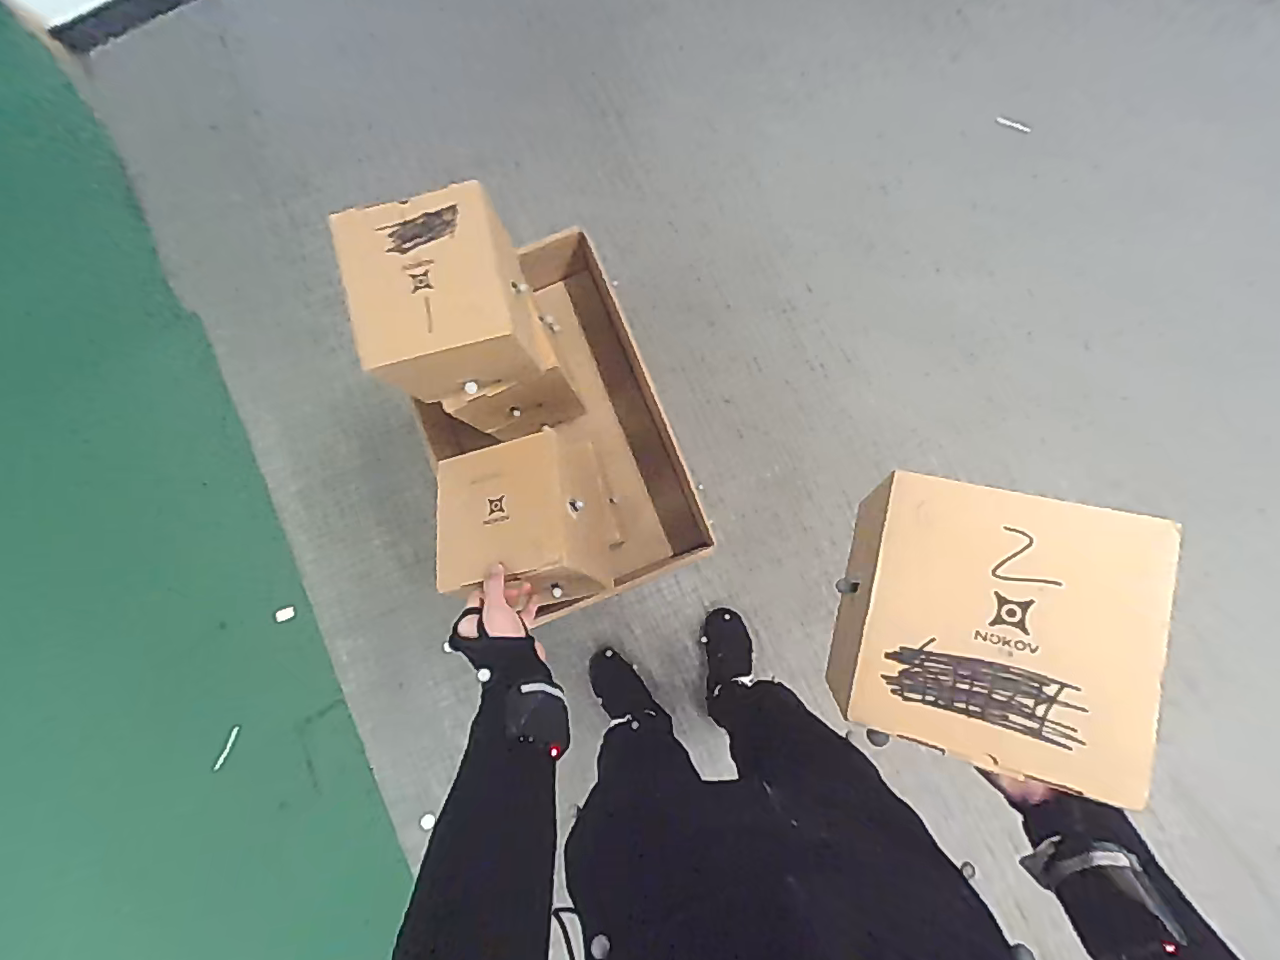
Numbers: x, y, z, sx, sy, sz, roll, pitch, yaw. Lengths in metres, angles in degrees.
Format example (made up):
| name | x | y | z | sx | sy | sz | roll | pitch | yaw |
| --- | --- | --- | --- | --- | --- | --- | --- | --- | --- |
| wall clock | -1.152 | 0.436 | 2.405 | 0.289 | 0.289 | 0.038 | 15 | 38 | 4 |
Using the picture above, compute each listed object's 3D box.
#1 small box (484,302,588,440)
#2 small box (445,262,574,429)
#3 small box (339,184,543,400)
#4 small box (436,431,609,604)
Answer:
| name | x | y | z | sx | sy | sz | roll | pitch | yaw |
| --- | --- | --- | --- | --- | --- | --- | --- | --- | --- |
| small box | -0.207 | -0.185 | 0.981 | 0.168 | 0.176 | 0.179 | -23 | 85 | 1 |
| small box | -0.214 | -0.197 | 0.820 | 0.168 | 0.176 | 0.179 | -23 | 85 | 0 |
| small box | -0.227 | -0.213 | 0.657 | 0.168 | 0.176 | 0.179 | -13 | 86 | 1 |
| small box | -0.148 | 0.062 | 0.719 | 0.168 | 0.176 | 0.179 | -13 | 65 | 13 |
